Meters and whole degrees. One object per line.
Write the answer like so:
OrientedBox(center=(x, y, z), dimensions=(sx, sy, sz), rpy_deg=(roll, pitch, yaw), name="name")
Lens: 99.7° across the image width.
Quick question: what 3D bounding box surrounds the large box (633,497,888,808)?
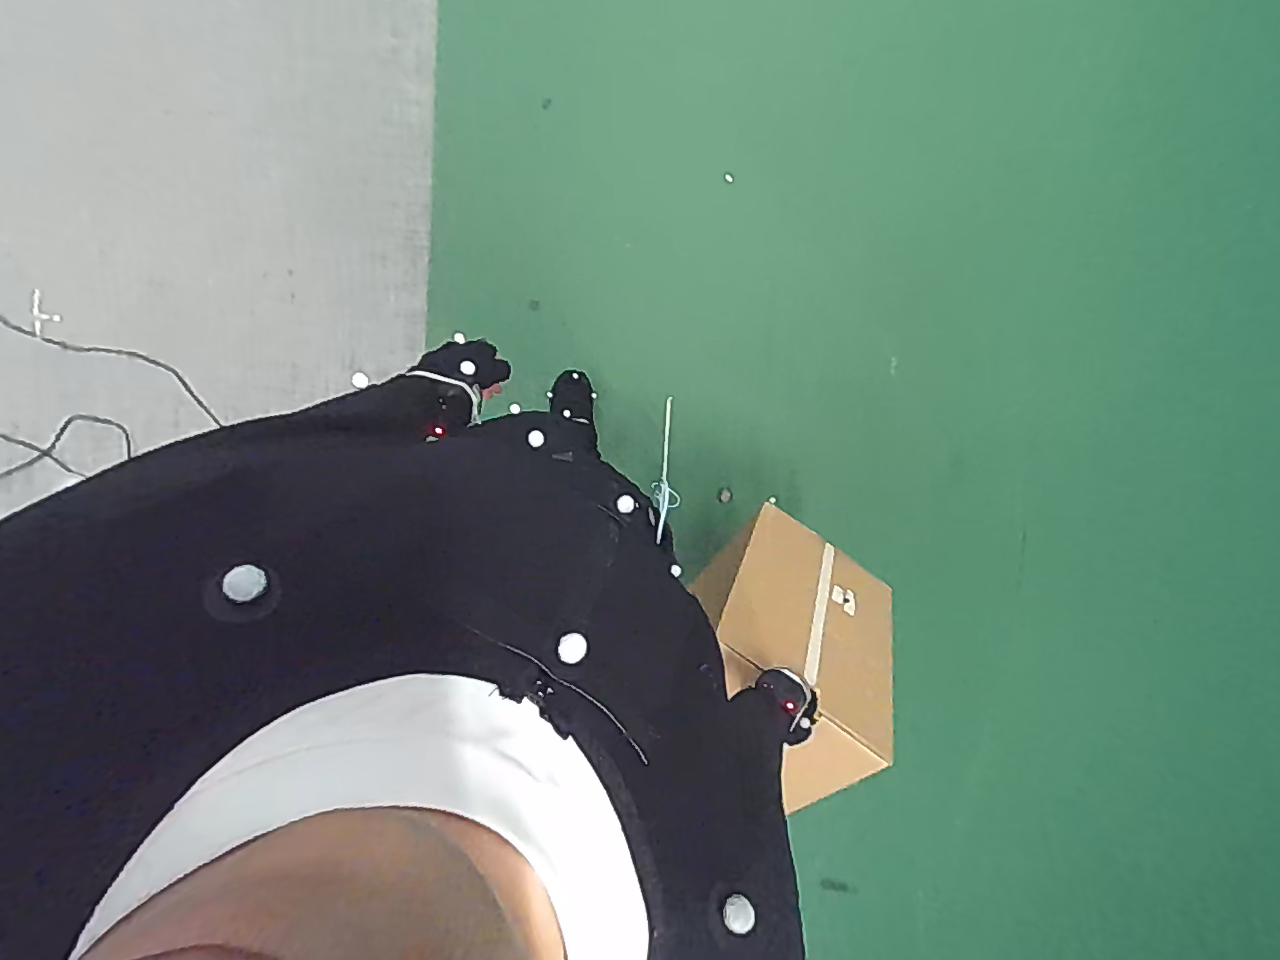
OrientedBox(center=(0.239, 0.314, 1.039), dimensions=(0.320, 0.408, 0.320), rpy_deg=(36, 126, 2), name="large box")
